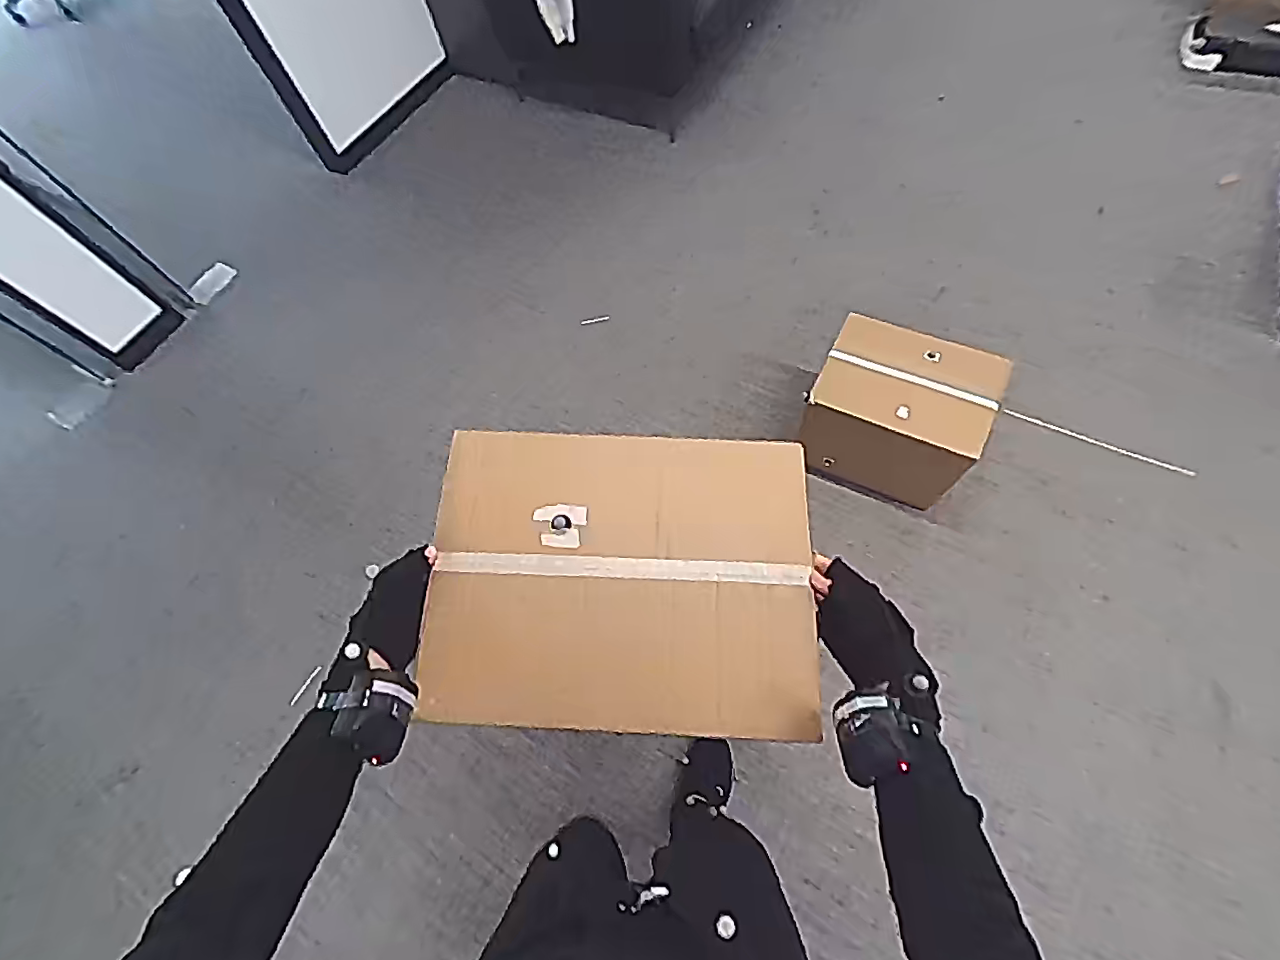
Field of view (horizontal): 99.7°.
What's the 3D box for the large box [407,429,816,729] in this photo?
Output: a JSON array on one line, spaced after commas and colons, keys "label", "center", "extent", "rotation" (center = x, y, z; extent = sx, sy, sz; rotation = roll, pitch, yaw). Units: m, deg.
[{"label": "large box", "center": [-0.020, 0.136, 0.707], "extent": [0.408, 0.320, 0.320], "rotation": [1, 70, 3]}]
